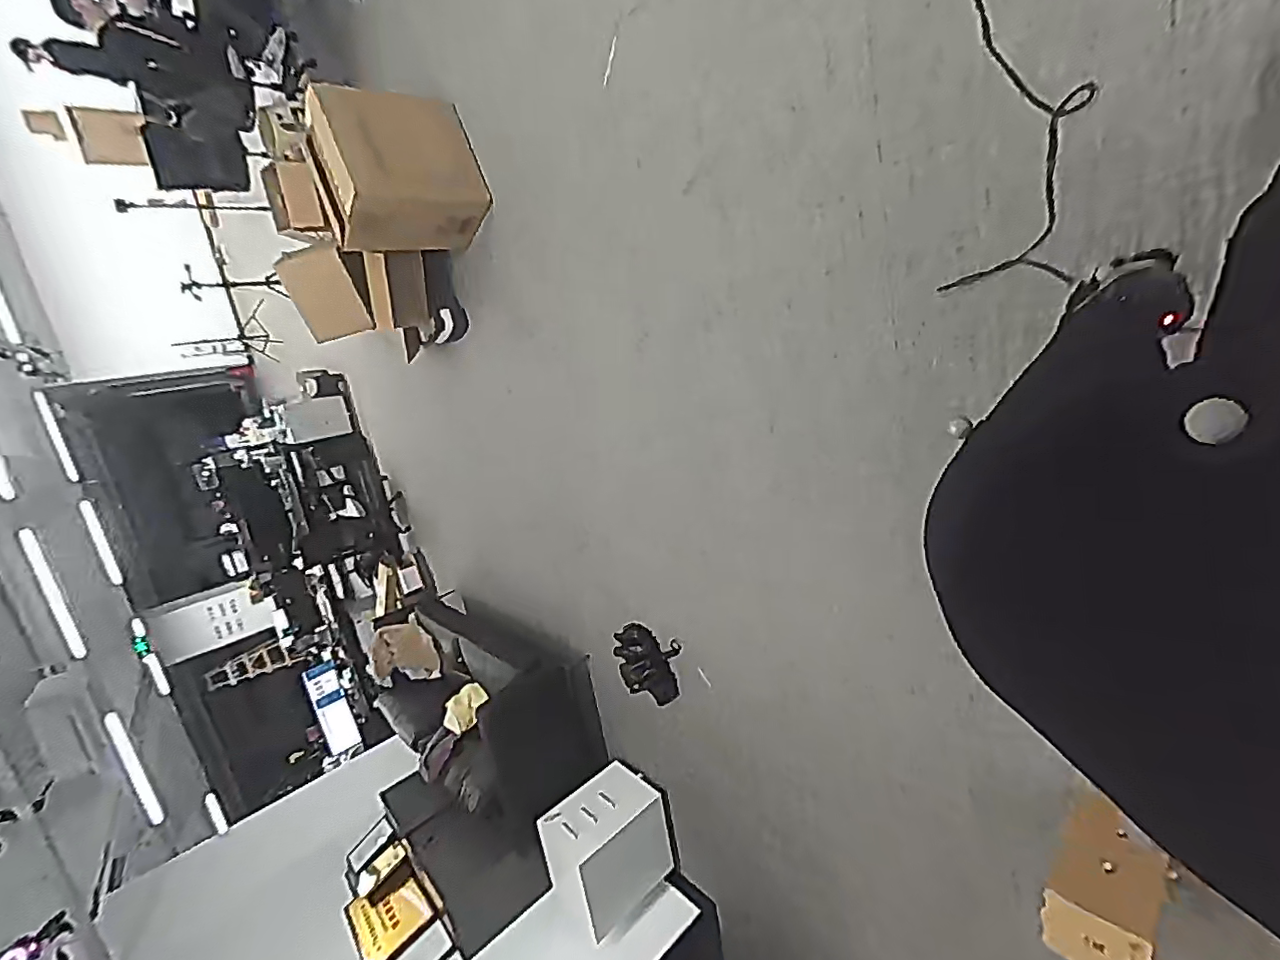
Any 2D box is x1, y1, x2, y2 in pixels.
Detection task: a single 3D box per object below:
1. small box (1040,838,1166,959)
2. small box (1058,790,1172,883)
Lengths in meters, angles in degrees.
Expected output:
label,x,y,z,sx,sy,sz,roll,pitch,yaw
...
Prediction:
label,x,y,z,sx,sy,sz,roll,pitch,yaw
small box,1.010,0.934,1.183,0.179,0.176,0.168,10,114,49
small box,1.126,0.881,1.285,0.179,0.176,0.168,5,111,50
